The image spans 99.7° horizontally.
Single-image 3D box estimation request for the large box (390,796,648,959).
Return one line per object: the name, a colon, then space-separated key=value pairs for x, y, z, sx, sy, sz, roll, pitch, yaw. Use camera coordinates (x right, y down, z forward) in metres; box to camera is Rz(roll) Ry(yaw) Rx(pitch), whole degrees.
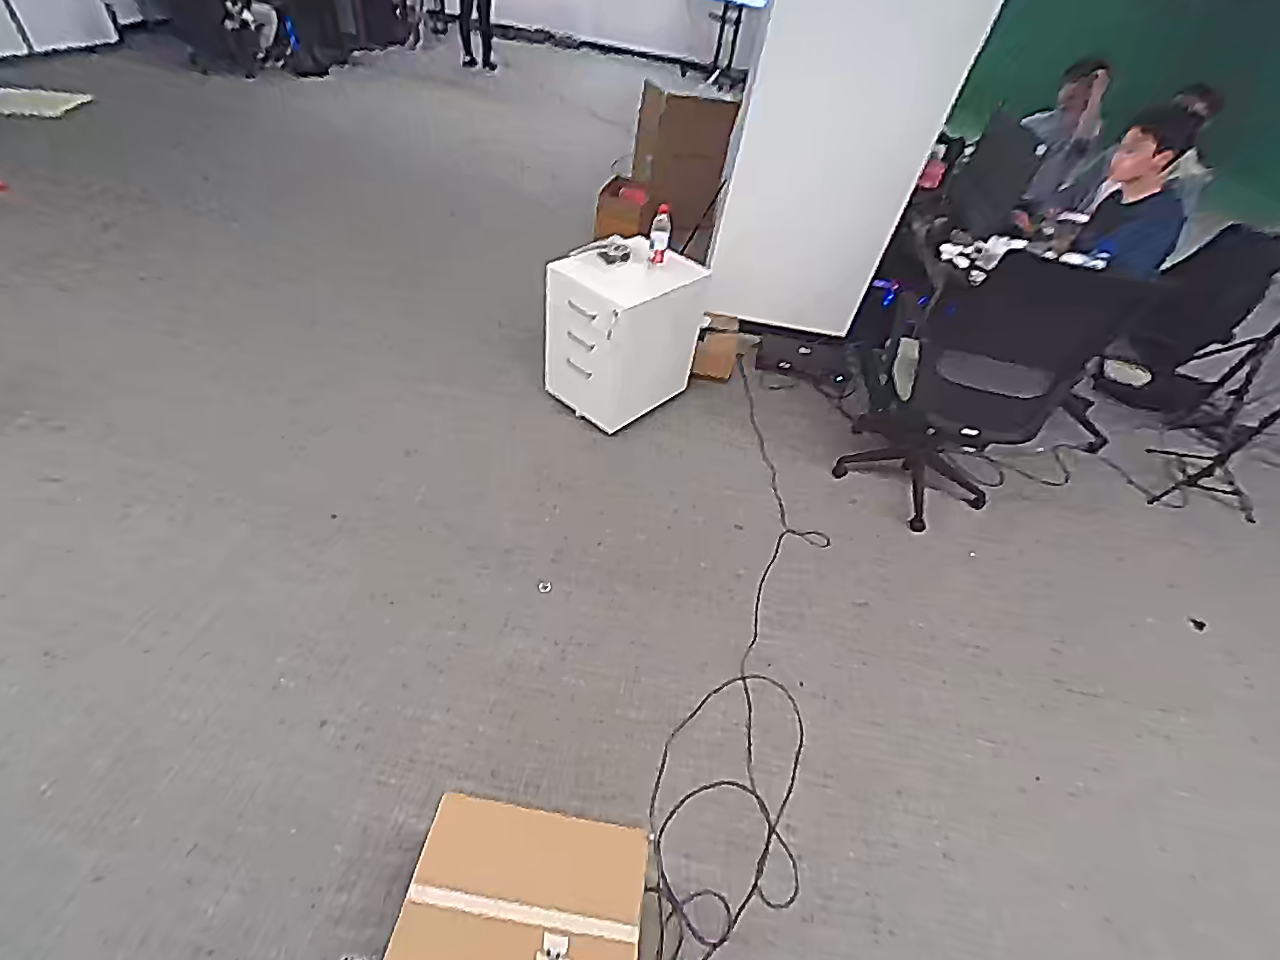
large box: x=-0.218 y=0.853 z=1.035 sx=0.408 sy=0.320 sz=0.320 roll=11 pitch=44 yaw=1
